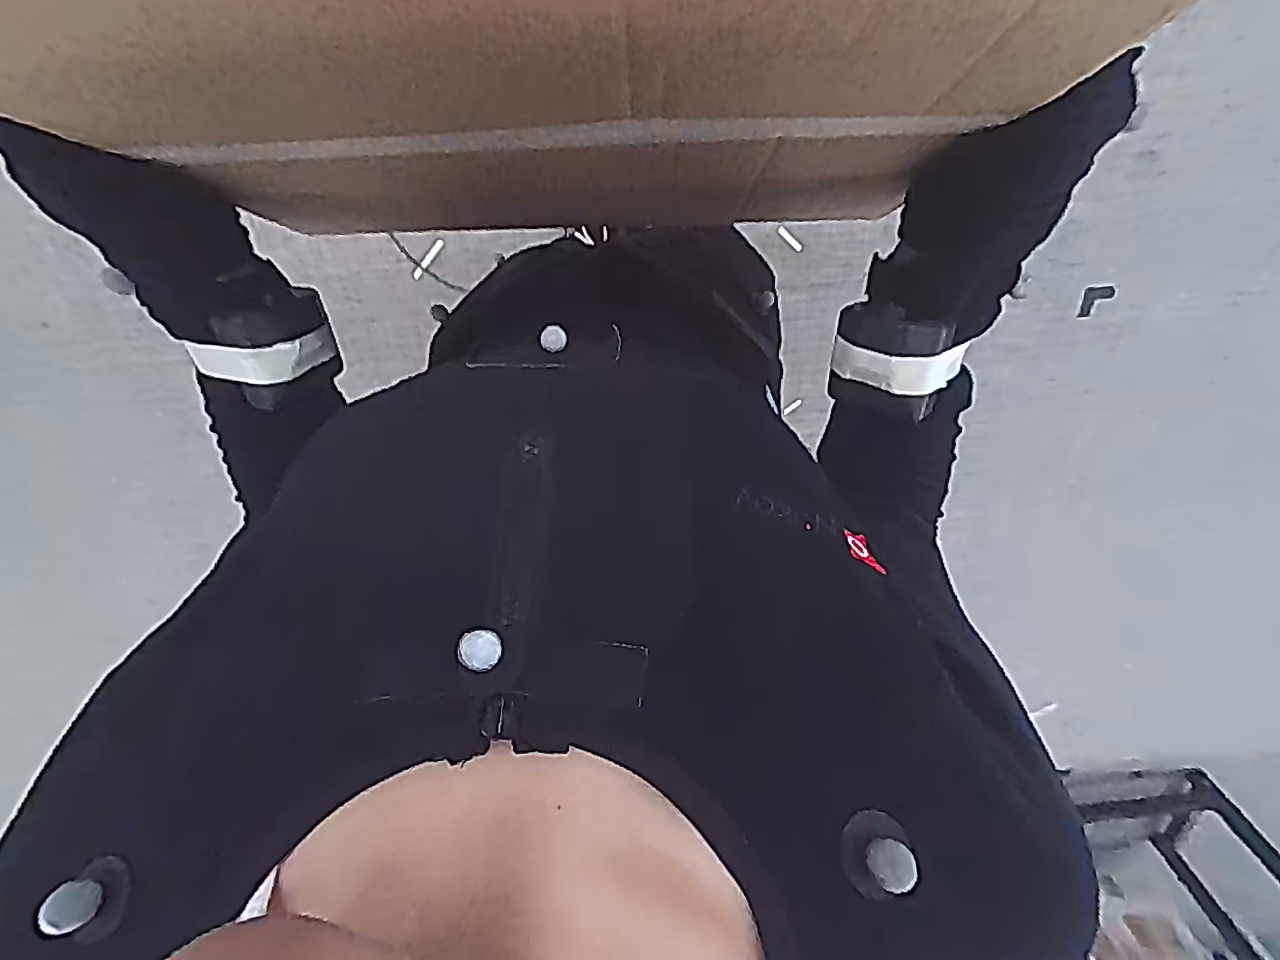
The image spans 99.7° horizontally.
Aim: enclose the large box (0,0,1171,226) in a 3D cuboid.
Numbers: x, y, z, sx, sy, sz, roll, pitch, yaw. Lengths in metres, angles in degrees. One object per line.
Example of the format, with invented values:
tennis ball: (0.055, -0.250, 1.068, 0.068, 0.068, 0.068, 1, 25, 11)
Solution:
large box: (-0.039, -0.307, 0.207, 0.408, 0.320, 0.320, -1, 102, 1)
